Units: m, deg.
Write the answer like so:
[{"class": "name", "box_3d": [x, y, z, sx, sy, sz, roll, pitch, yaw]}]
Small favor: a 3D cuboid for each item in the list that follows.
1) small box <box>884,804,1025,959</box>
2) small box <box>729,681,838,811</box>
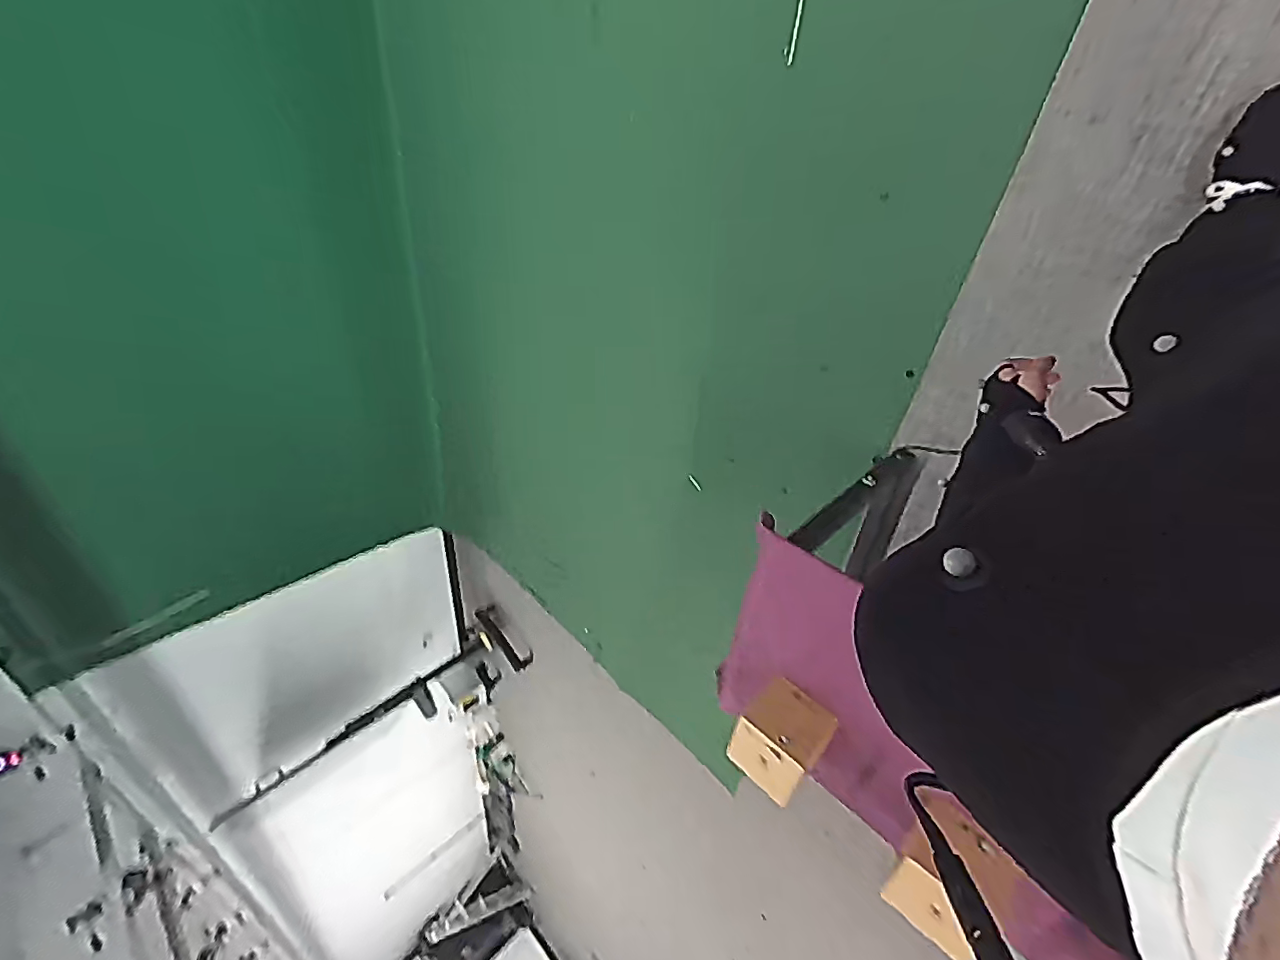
[{"class": "small box", "box_3d": [0.613, 0.789, 1.055, 0.168, 0.176, 0.179, 31, 130, 33]}, {"class": "small box", "box_3d": [0.337, 0.617, 1.269, 0.168, 0.176, 0.179, 32, 132, 32]}]
